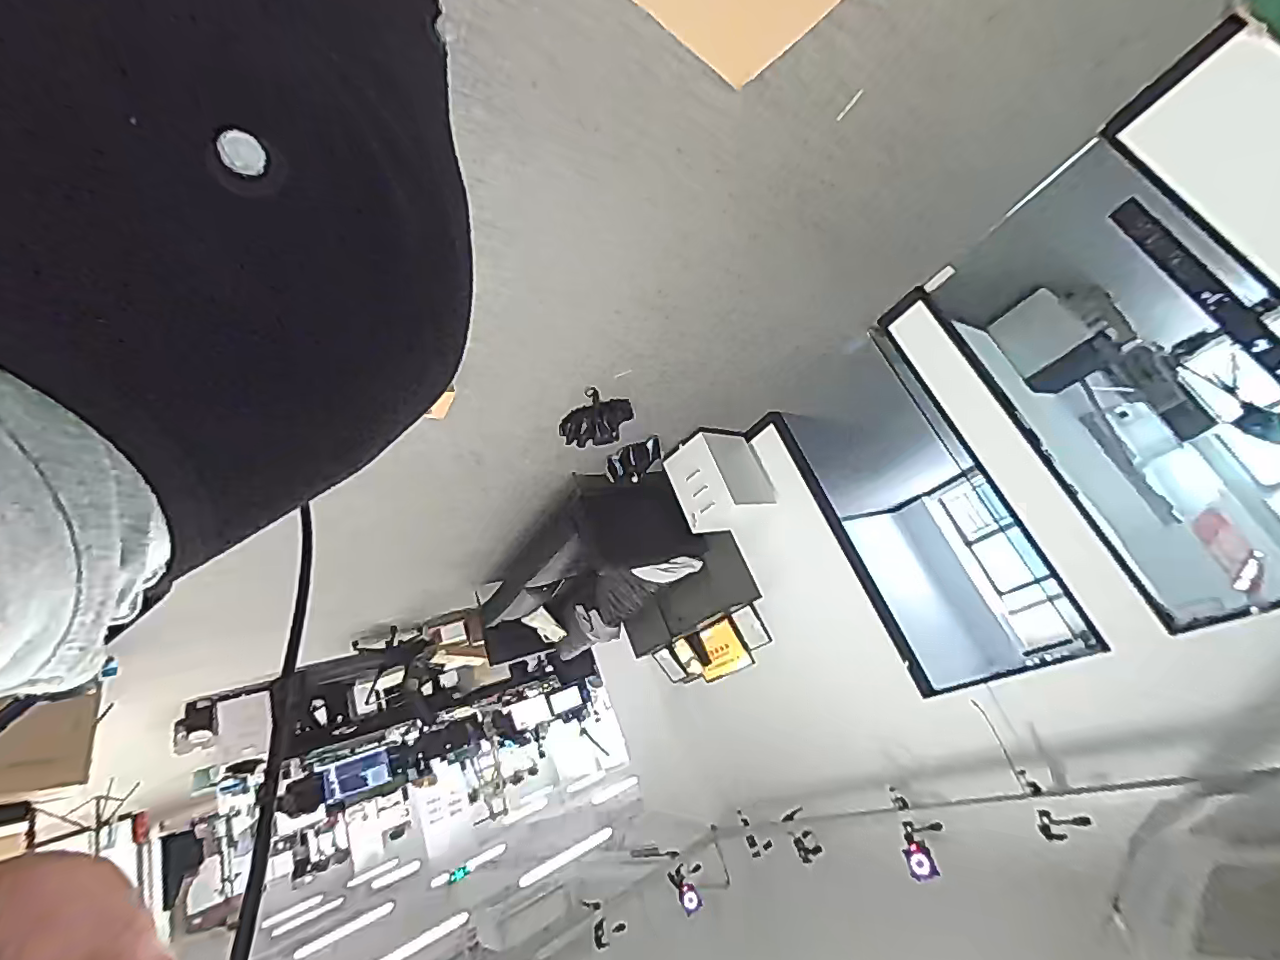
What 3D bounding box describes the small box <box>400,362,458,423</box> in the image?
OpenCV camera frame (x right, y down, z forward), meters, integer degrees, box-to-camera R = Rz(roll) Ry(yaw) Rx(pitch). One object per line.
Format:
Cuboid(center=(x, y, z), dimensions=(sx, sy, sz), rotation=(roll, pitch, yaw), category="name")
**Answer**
Cuboid(center=(-0.849, -0.346, 2.162), dimensions=(0.168, 0.176, 0.179), rotation=(-5, 152, -39), category="small box")
